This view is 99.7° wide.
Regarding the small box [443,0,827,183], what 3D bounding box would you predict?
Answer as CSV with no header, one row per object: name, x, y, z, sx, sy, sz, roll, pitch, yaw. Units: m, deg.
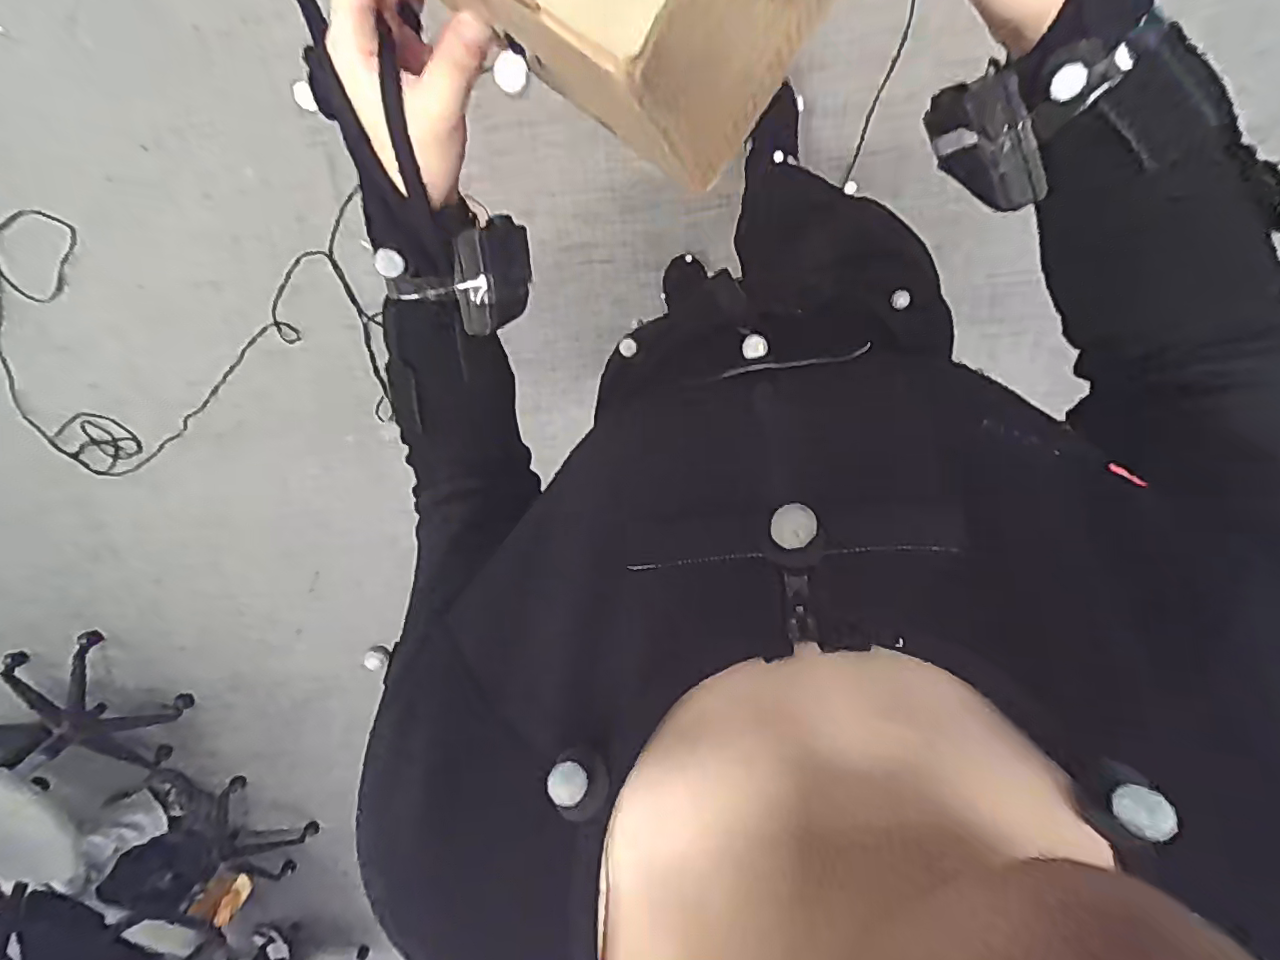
small box,-0.003,-0.240,0.190,0.168,0.176,0.179,37,113,1
